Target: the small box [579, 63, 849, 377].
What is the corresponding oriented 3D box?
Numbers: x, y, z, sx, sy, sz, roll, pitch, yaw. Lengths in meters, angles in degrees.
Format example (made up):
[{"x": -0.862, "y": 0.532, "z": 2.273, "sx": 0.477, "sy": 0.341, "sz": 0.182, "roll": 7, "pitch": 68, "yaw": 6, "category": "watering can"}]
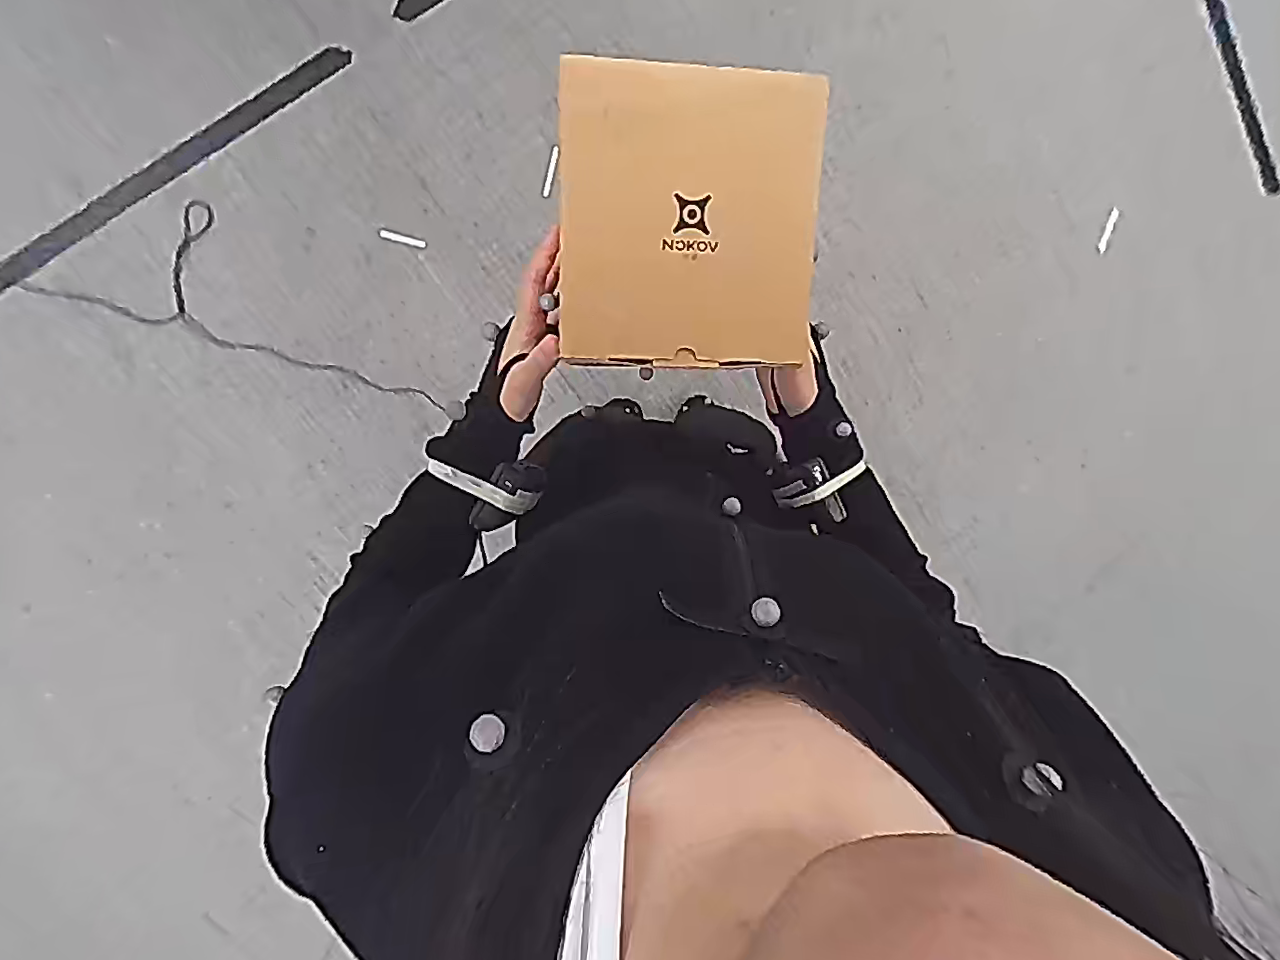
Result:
[{"x": 0.038, "y": -0.176, "z": 0.426, "sx": 0.168, "sy": 0.176, "sz": 0.179, "roll": 3, "pitch": 102, "yaw": -6, "category": "small box"}]
